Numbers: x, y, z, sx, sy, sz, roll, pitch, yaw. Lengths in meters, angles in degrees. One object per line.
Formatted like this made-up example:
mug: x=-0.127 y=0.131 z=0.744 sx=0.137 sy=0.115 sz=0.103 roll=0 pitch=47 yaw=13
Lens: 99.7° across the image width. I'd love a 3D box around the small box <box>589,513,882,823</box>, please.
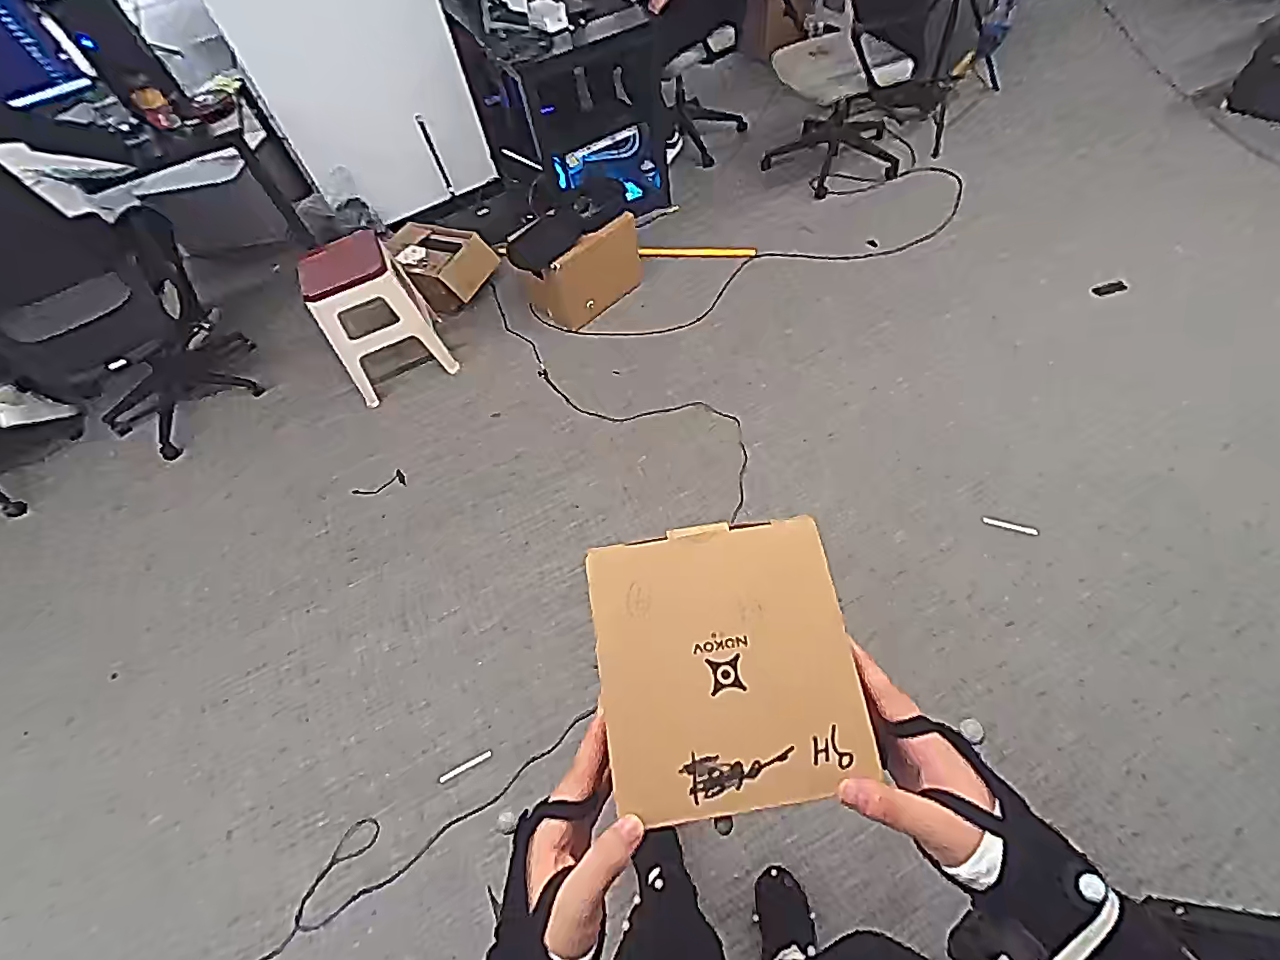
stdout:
small box: x=0.057 y=0.143 z=0.429 sx=0.168 sy=0.176 sz=0.179 roll=-9 pitch=69 yaw=-1
